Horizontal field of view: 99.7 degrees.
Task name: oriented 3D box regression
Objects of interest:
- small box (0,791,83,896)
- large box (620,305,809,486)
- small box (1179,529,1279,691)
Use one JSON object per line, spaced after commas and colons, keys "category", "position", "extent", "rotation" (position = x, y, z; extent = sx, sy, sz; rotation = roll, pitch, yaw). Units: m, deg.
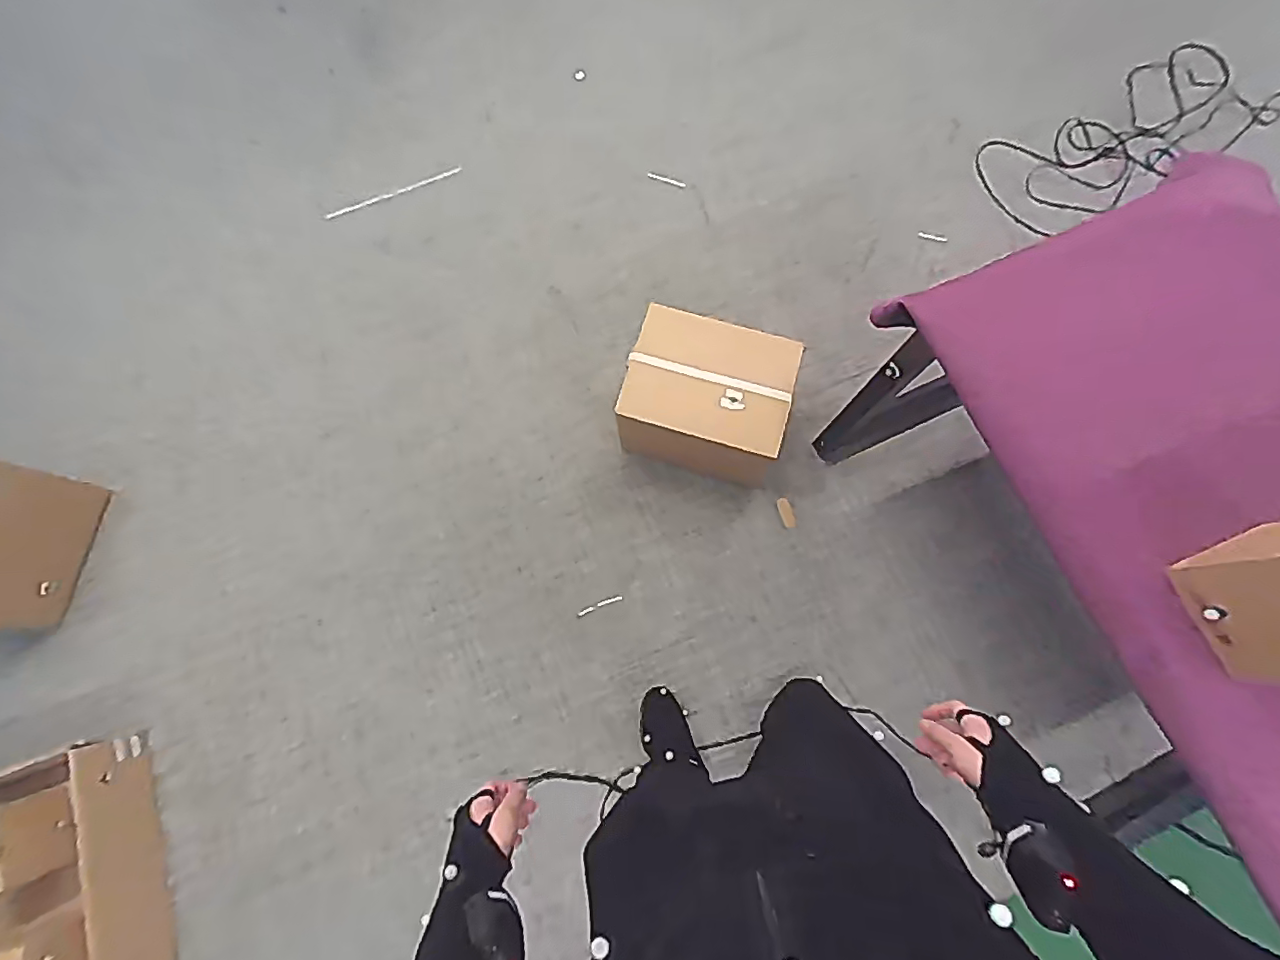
{"category": "small box", "position": [-1.442, 0.840, 1.231], "extent": [0.168, 0.176, 0.179], "rotation": [-25, 76, -6]}
{"category": "large box", "position": [0.181, -0.209, 1.445], "extent": [0.408, 0.320, 0.320], "rotation": [17, 78, 5]}
{"category": "small box", "position": [0.835, 0.148, 0.651], "extent": [0.179, 0.176, 0.168], "rotation": [-20, 75, -5]}
